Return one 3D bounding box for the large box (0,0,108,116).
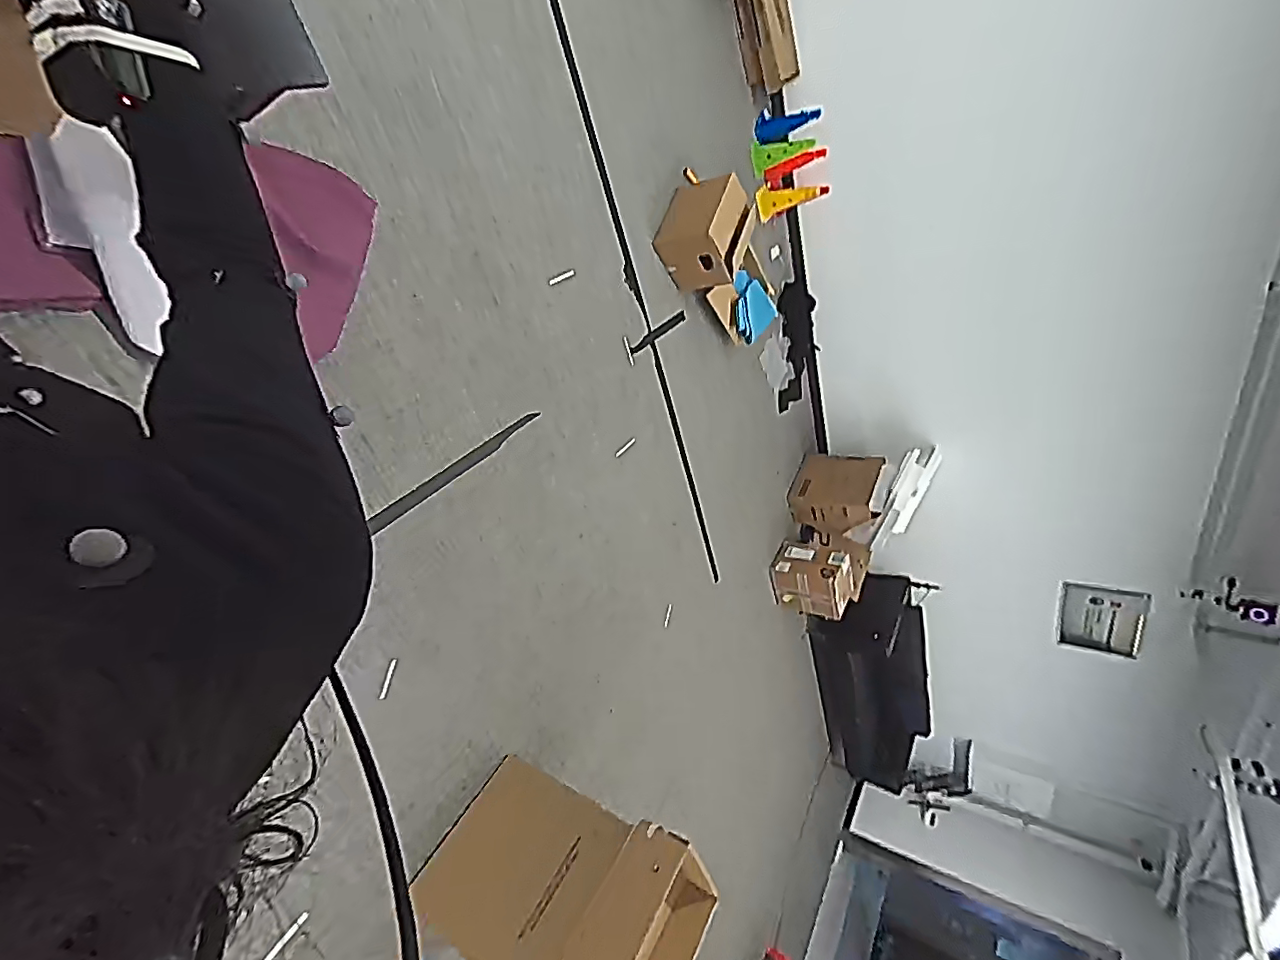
[{"bbox_3d":[-0.617,-0.424,0.264,0.408,0.320,0.320,-32,121,-49],"label":"large box"}]
